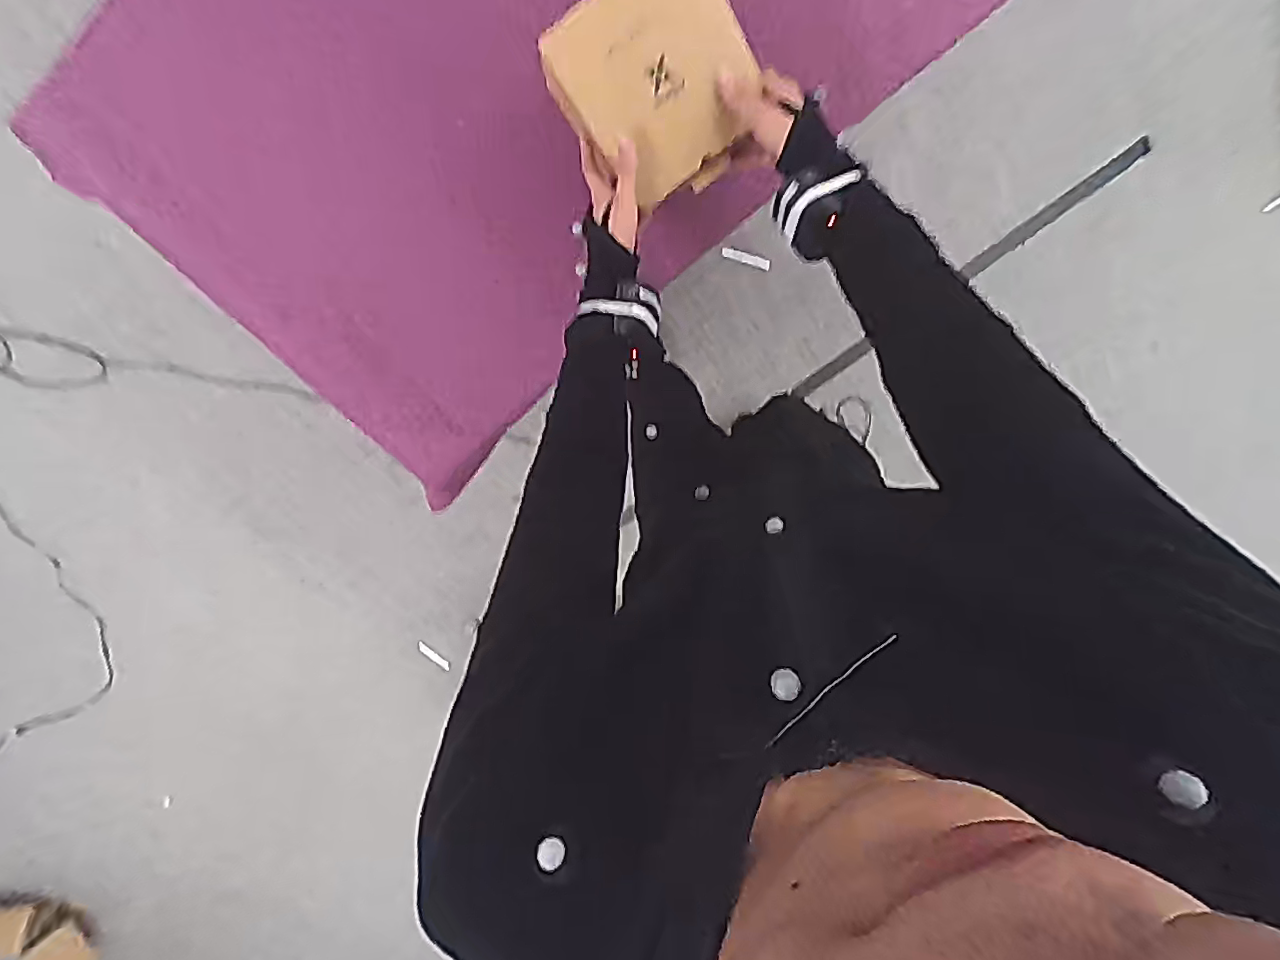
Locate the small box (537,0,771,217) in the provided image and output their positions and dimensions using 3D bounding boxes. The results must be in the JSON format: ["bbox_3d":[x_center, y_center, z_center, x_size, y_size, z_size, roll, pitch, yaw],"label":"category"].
[{"bbox_3d":[0.011,-0.415,0.588,0.168,0.176,0.179,-34,113,9],"label":"small box"}]
